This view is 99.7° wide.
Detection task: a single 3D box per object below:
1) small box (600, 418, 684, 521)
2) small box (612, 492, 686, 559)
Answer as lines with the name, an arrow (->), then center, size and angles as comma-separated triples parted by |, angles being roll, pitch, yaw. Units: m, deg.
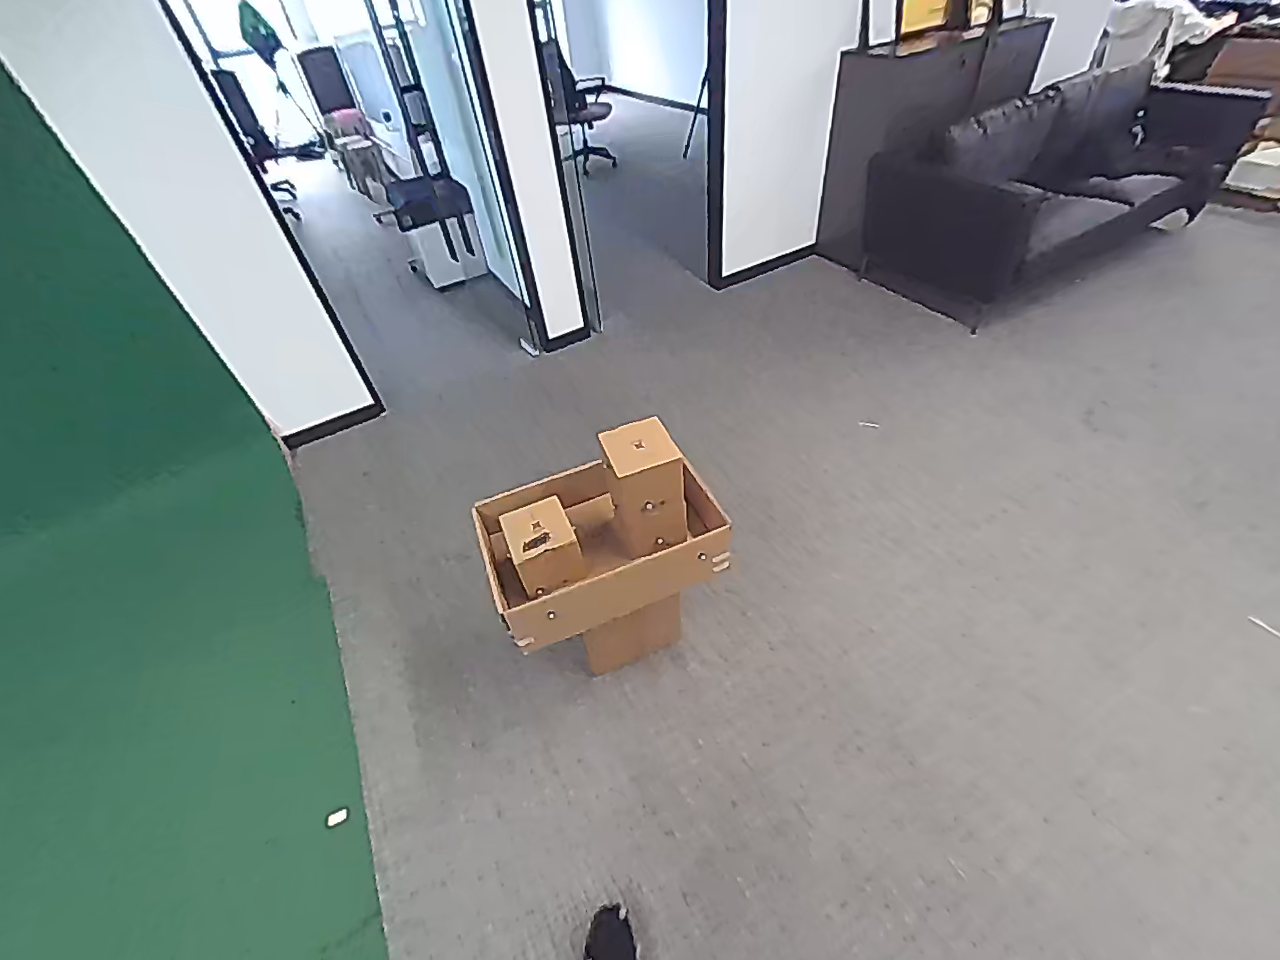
small box -> 0.005, -0.026, 1.381 | 0.168, 0.176, 0.179 | -17, 46, -10
small box -> 0.022, 0.087, 1.497 | 0.168, 0.176, 0.179 | -16, 46, -10
